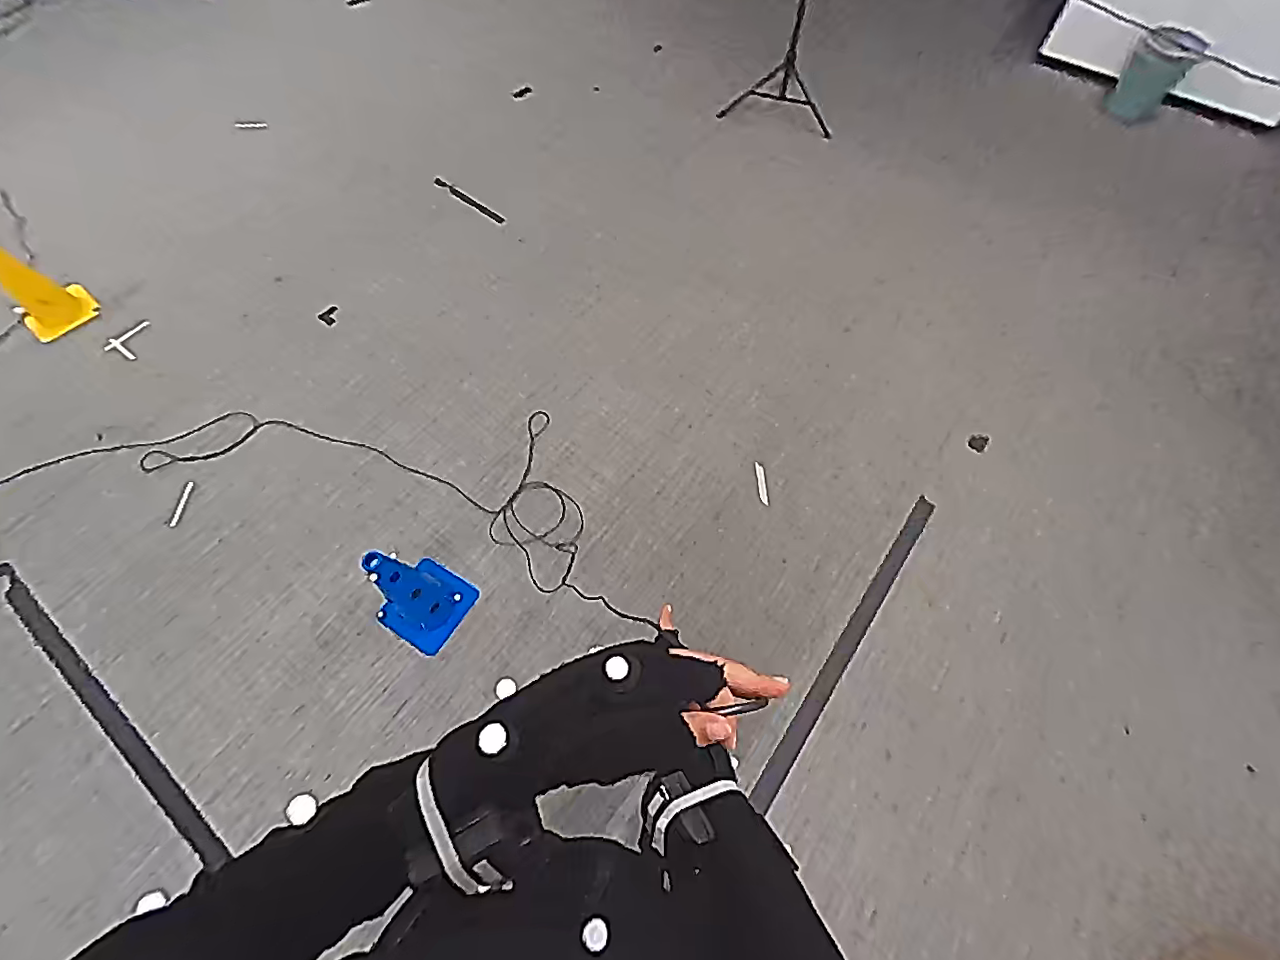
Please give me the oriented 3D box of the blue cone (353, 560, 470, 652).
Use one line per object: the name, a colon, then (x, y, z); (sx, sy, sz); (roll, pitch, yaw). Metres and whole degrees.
blue cone: (-0.558, 0.254, 1.259); (0.193, 0.380, 0.192); (30, 67, 14)
